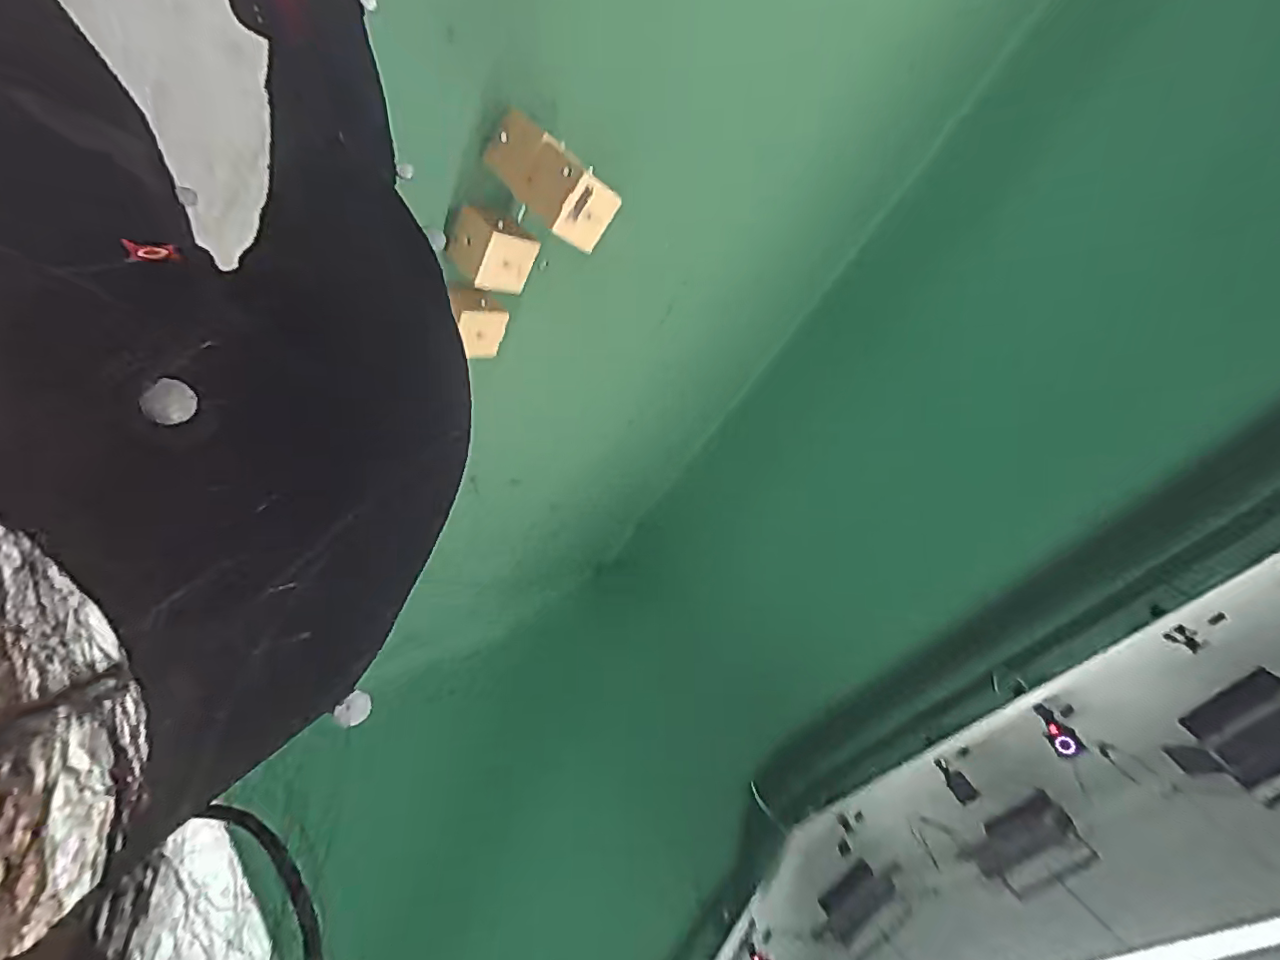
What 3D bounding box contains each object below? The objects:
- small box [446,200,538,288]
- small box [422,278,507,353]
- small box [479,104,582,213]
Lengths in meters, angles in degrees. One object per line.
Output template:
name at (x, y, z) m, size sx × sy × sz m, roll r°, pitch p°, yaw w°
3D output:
small box at (-0.443, -0.698, 1.597) m, size 0.179 × 0.176 × 0.168 m, roll -16°, pitch 148°, yaw -52°
small box at (-0.563, -0.527, 1.732) m, size 0.179 × 0.176 × 0.168 m, roll -18°, pitch 149°, yaw -49°
small box at (-0.301, -0.881, 1.483) m, size 0.168 × 0.176 × 0.179 m, roll -50°, pitch 157°, yaw 20°
